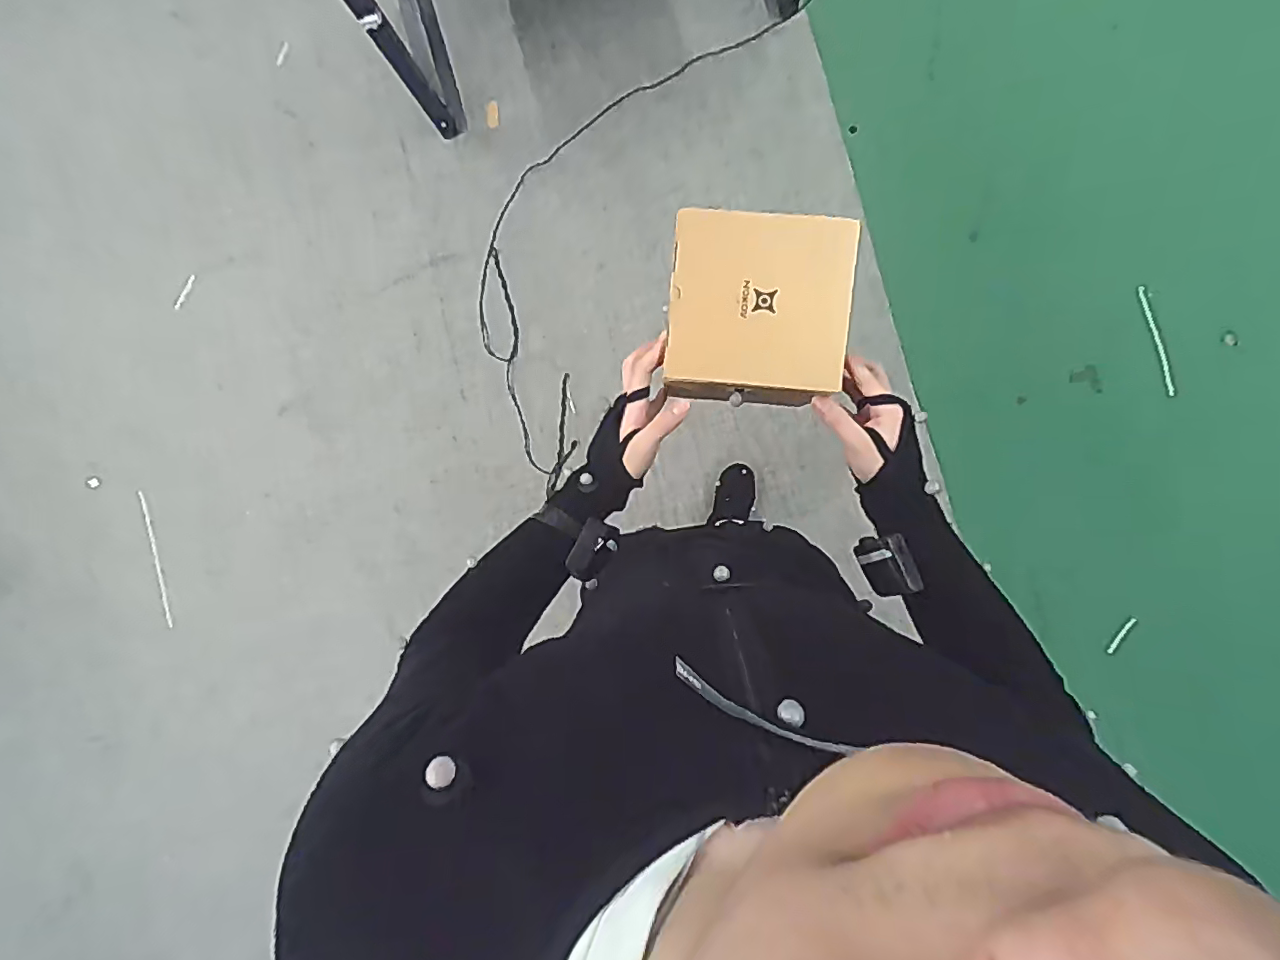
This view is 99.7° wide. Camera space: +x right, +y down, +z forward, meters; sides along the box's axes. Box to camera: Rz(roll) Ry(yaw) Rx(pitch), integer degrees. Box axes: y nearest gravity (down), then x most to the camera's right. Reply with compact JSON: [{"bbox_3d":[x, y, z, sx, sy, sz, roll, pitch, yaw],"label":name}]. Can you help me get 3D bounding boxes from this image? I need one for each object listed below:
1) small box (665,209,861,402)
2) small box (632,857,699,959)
[{"bbox_3d":[0.124,-0.179,0.603,0.179,0.176,0.168,5,94,5],"label":"small box"},{"bbox_3d":[0.076,1.198,1.524,0.168,0.176,0.179,-7,86,7],"label":"small box"}]
